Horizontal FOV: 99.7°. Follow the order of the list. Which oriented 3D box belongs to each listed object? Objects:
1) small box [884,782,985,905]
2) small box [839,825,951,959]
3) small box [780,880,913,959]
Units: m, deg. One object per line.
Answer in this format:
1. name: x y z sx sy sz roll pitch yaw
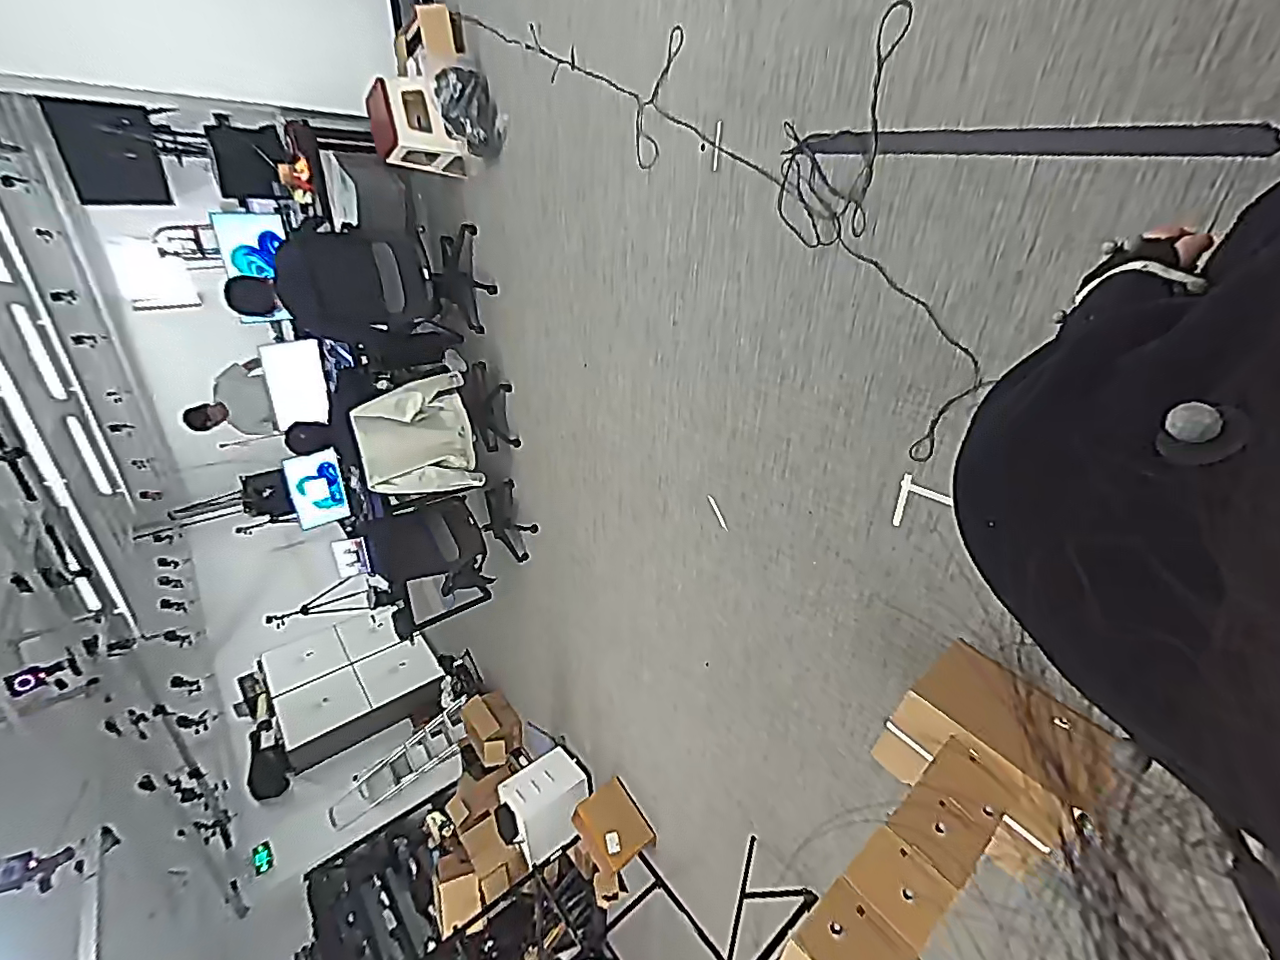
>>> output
1. small box: 0.637 0.826 1.212 0.168 0.176 0.179 37 132 38
2. small box: 0.511 0.867 1.118 0.168 0.176 0.179 34 132 39
3. small box: 0.386 0.918 1.026 0.168 0.176 0.179 34 133 41
